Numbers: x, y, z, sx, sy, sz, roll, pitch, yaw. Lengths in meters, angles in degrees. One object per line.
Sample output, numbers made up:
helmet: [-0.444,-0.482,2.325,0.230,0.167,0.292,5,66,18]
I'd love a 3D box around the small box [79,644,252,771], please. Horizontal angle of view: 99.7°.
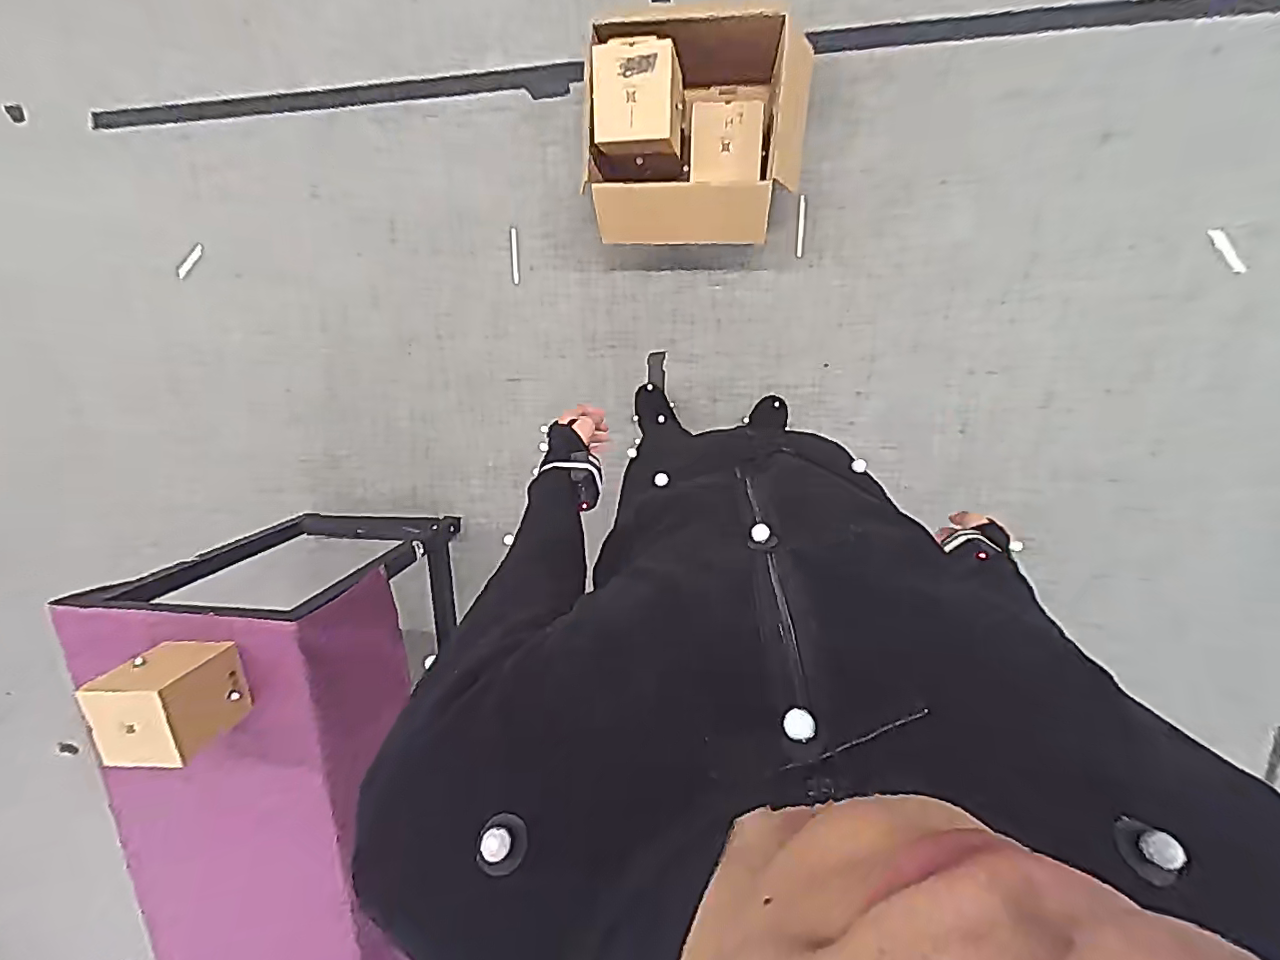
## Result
small box: [-0.926,0.441,1.070,0.179,0.176,0.168,-2,104,9]
